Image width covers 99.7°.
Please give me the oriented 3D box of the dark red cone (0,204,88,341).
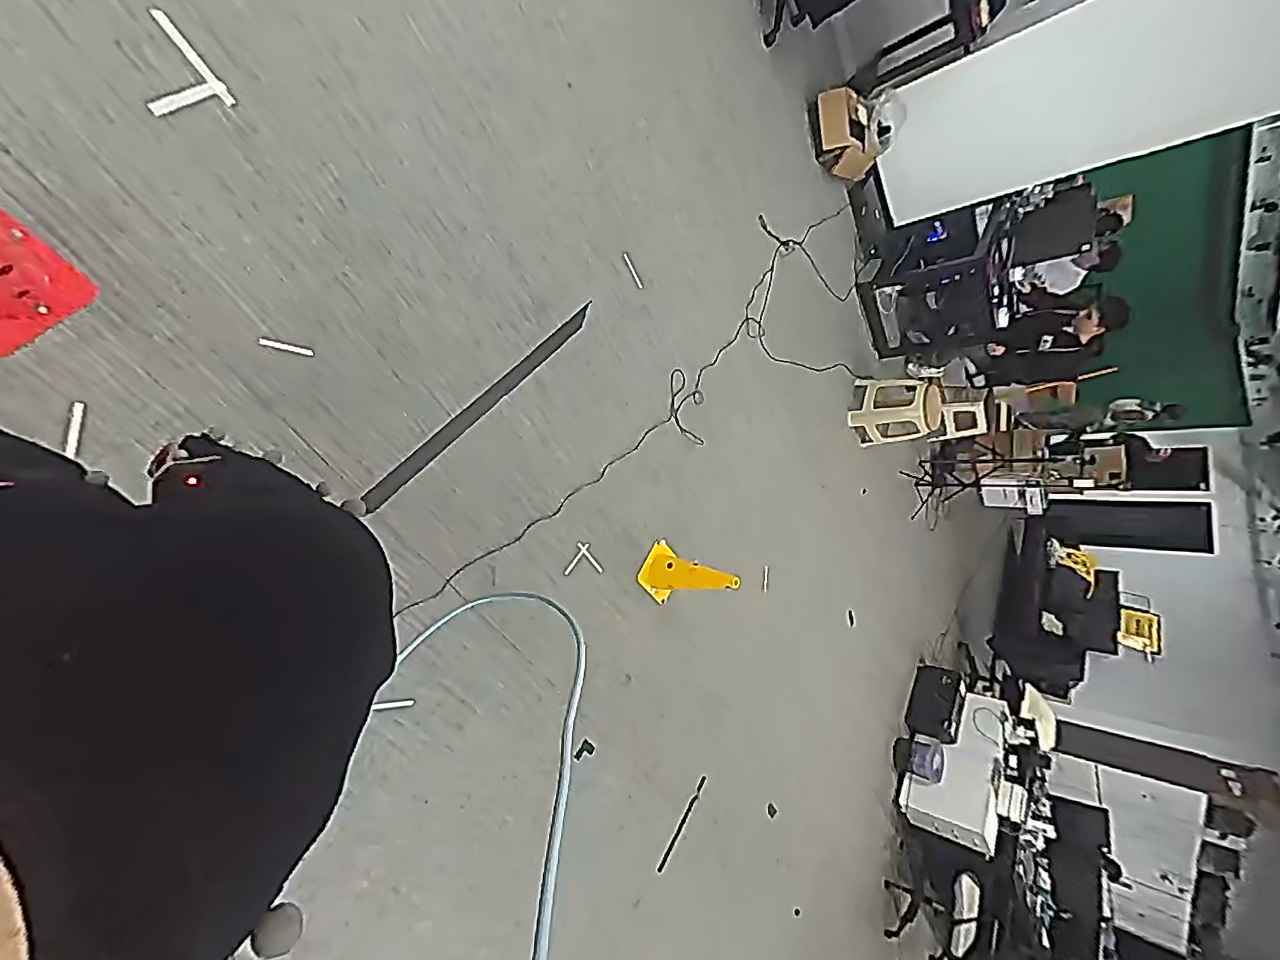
[{"bbox_3d":[-0.944,-0.342,0.752,0.201,0.394,0.202,52,55,-35],"label":"dark red cone"}]
